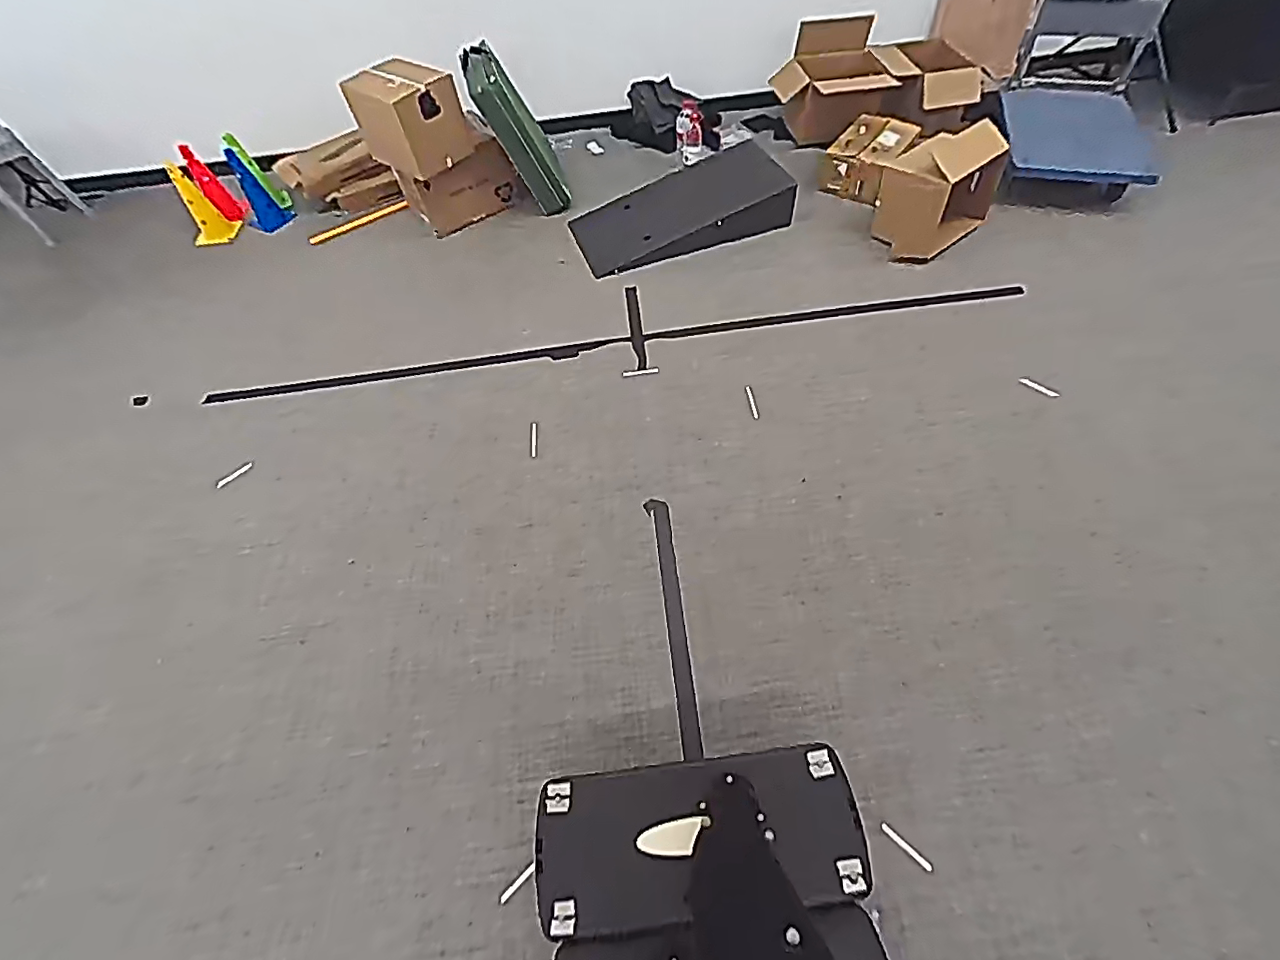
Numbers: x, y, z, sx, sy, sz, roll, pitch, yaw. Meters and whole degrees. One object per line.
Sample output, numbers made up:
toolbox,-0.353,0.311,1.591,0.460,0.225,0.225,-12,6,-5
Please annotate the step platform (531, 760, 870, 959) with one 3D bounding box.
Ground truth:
step platform,0.116,0.799,1.152,0.684,0.204,0.286,-8,56,-2
